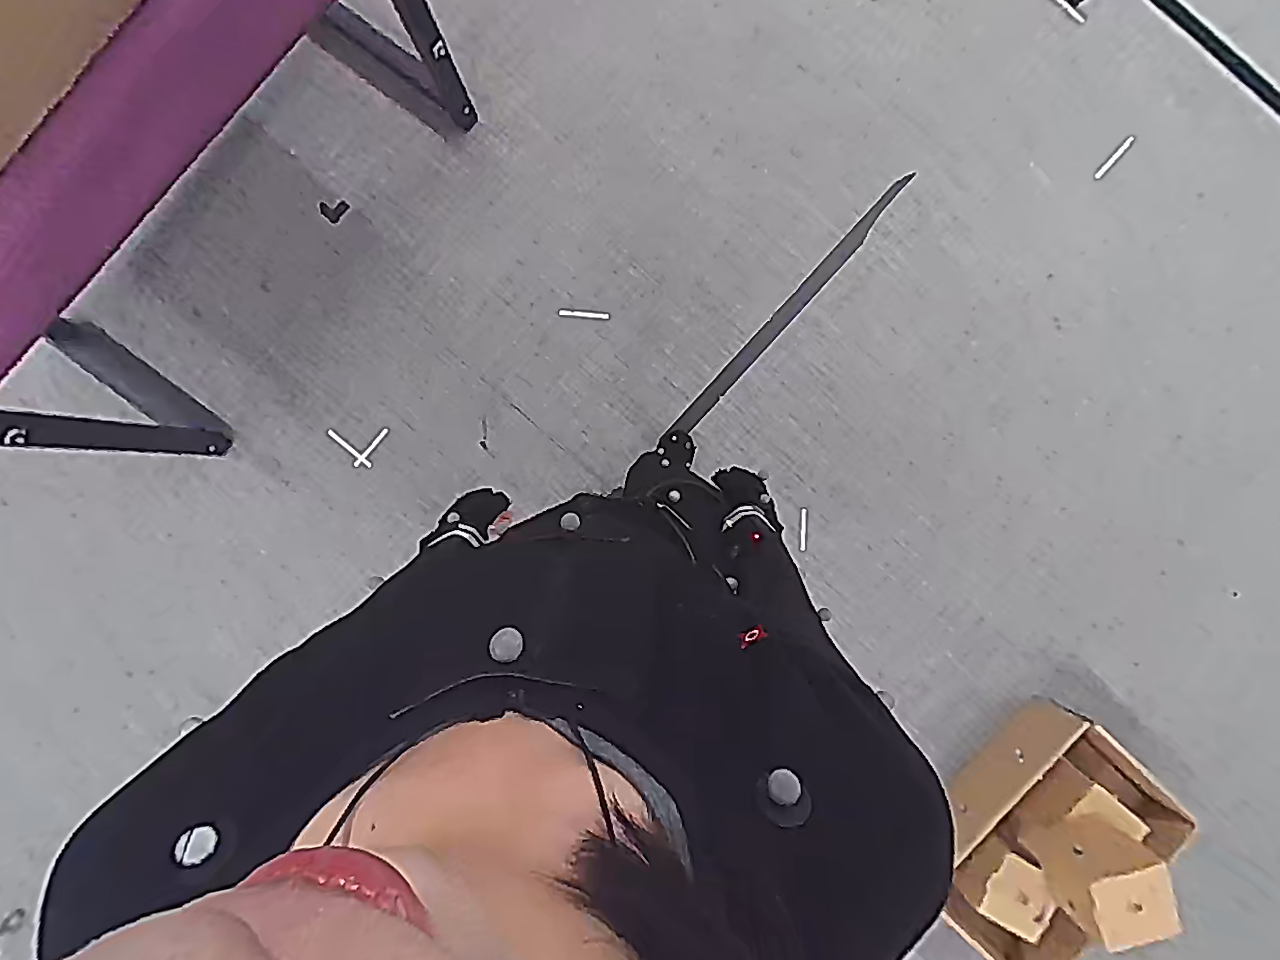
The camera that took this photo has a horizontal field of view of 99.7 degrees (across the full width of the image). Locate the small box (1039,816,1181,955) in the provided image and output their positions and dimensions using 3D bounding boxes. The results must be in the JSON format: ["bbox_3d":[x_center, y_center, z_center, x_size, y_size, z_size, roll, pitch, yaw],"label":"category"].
[{"bbox_3d":[1.054,0.914,1.233,0.179,0.176,0.168,-15,93,-2],"label":"small box"}]

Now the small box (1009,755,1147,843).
[{"bbox_3d":[1.120,0.857,1.396,0.179,0.176,0.168,40,91,-1],"label":"small box"}]
